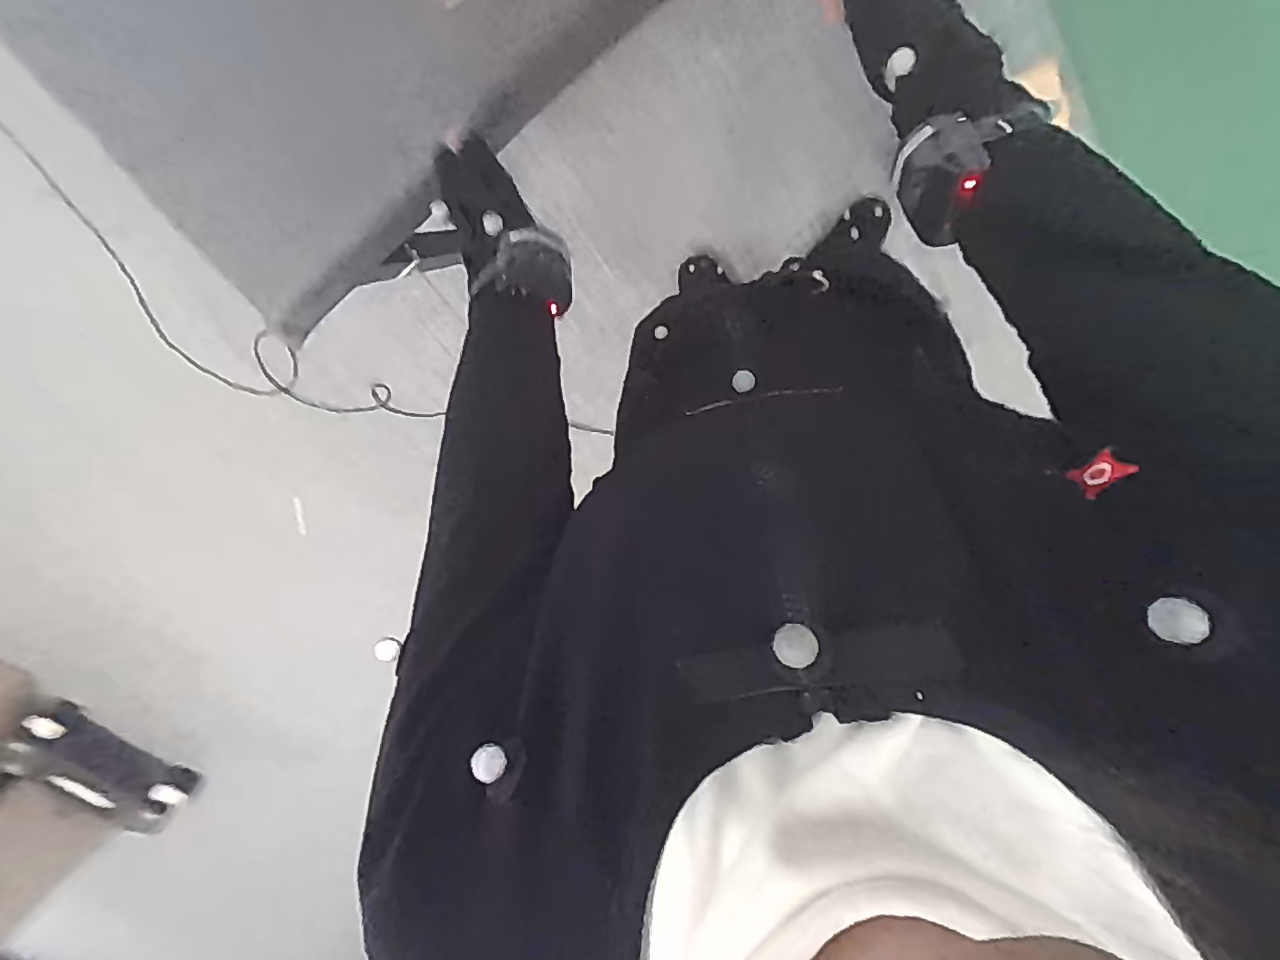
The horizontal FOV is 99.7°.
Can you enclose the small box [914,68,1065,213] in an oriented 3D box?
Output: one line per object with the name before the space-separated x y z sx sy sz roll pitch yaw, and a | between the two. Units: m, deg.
small box | 0.660 -0.638 1.038 0.179 0.176 0.168 -23 110 19
